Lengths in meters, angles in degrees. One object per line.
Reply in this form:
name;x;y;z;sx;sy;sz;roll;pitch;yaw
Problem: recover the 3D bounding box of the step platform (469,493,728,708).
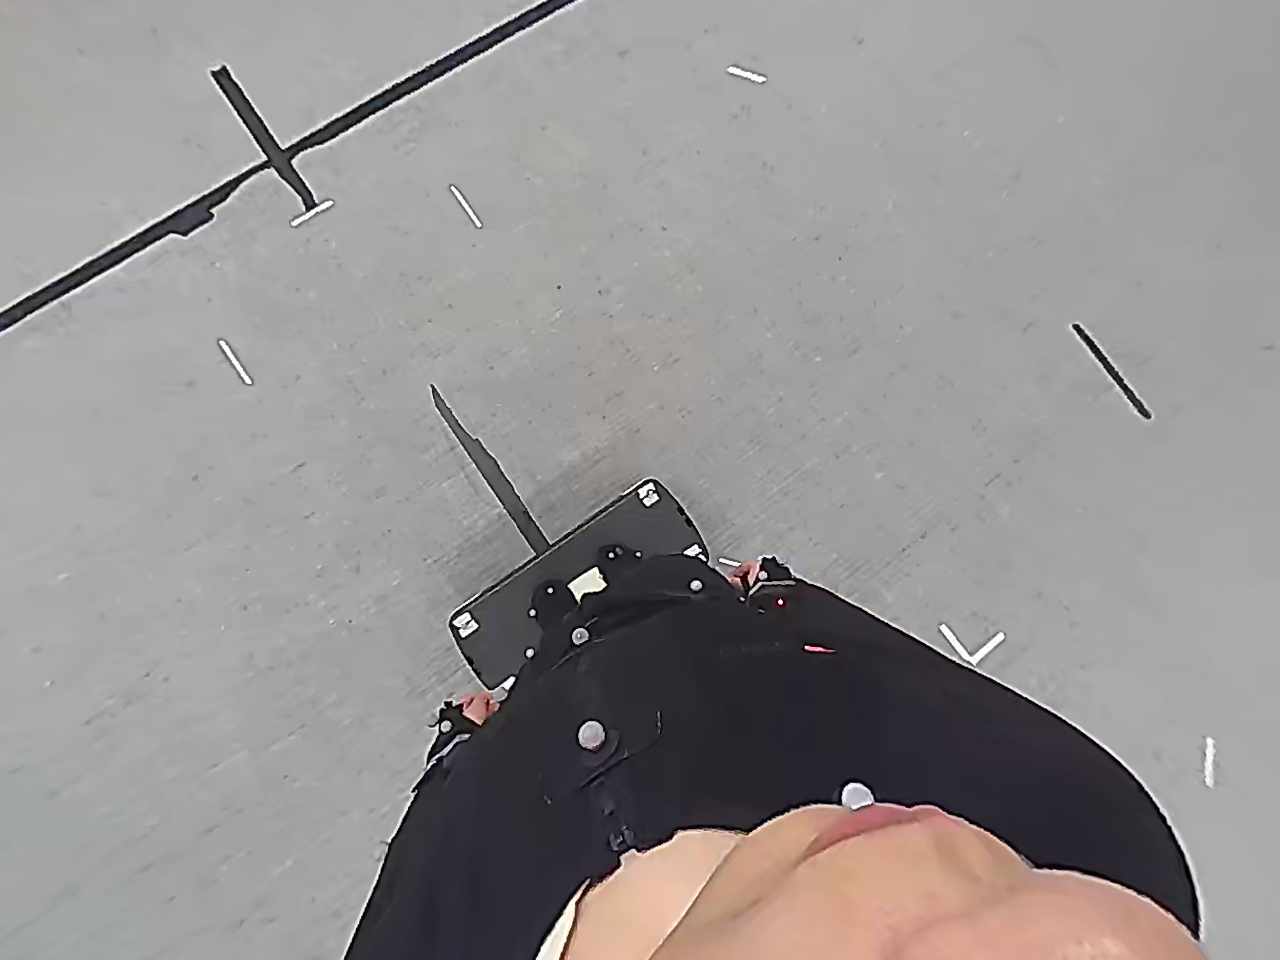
step platform;-0.107;0.310;1.461;0.684;0.204;0.286;-30;86;-9
